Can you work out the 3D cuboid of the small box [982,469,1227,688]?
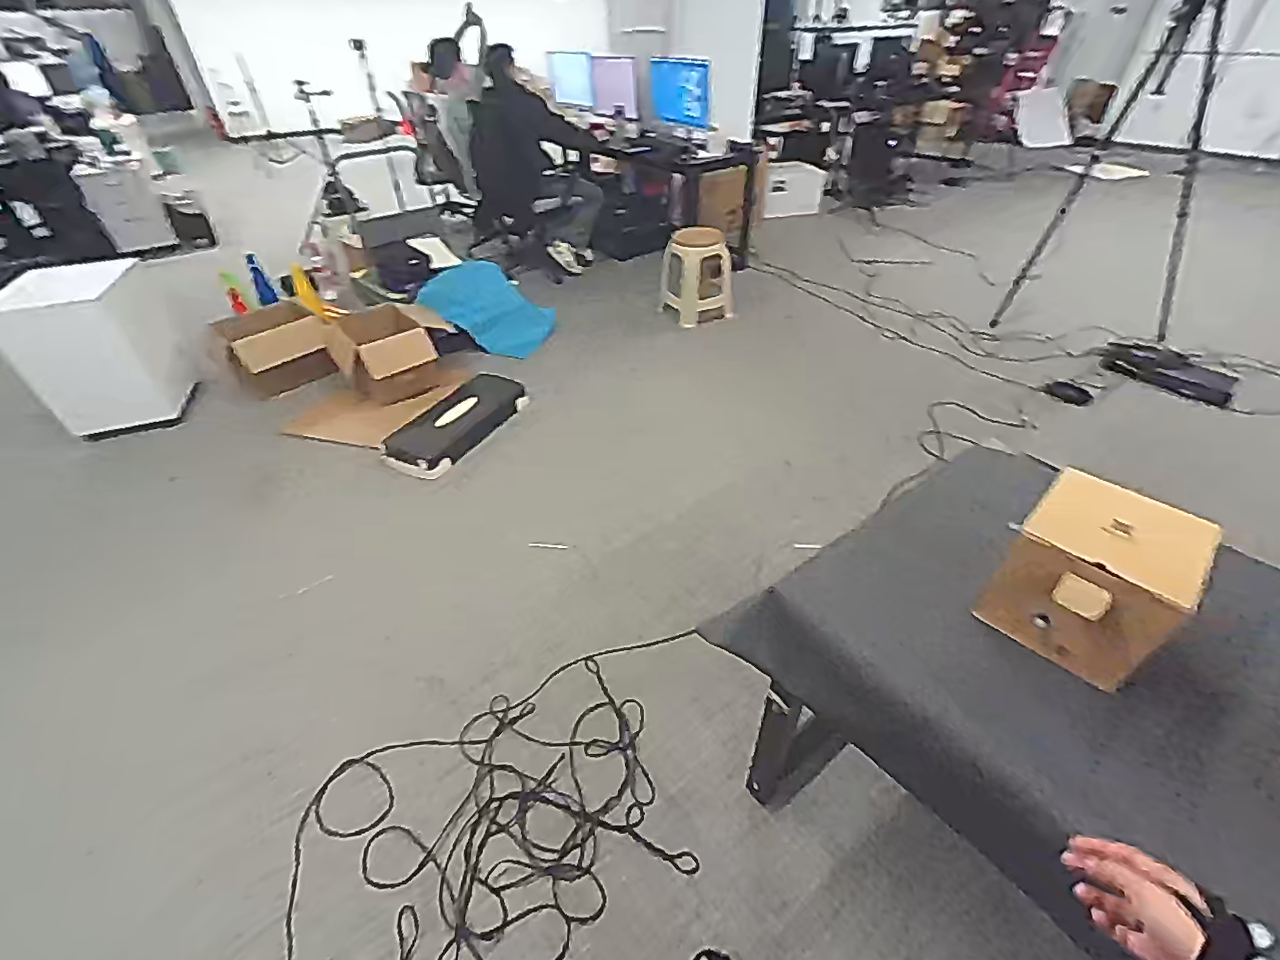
[{"bbox_3d":[0.576,0.121,0.690,0.179,0.176,0.168,-32,49,-31],"label":"small box"}]
